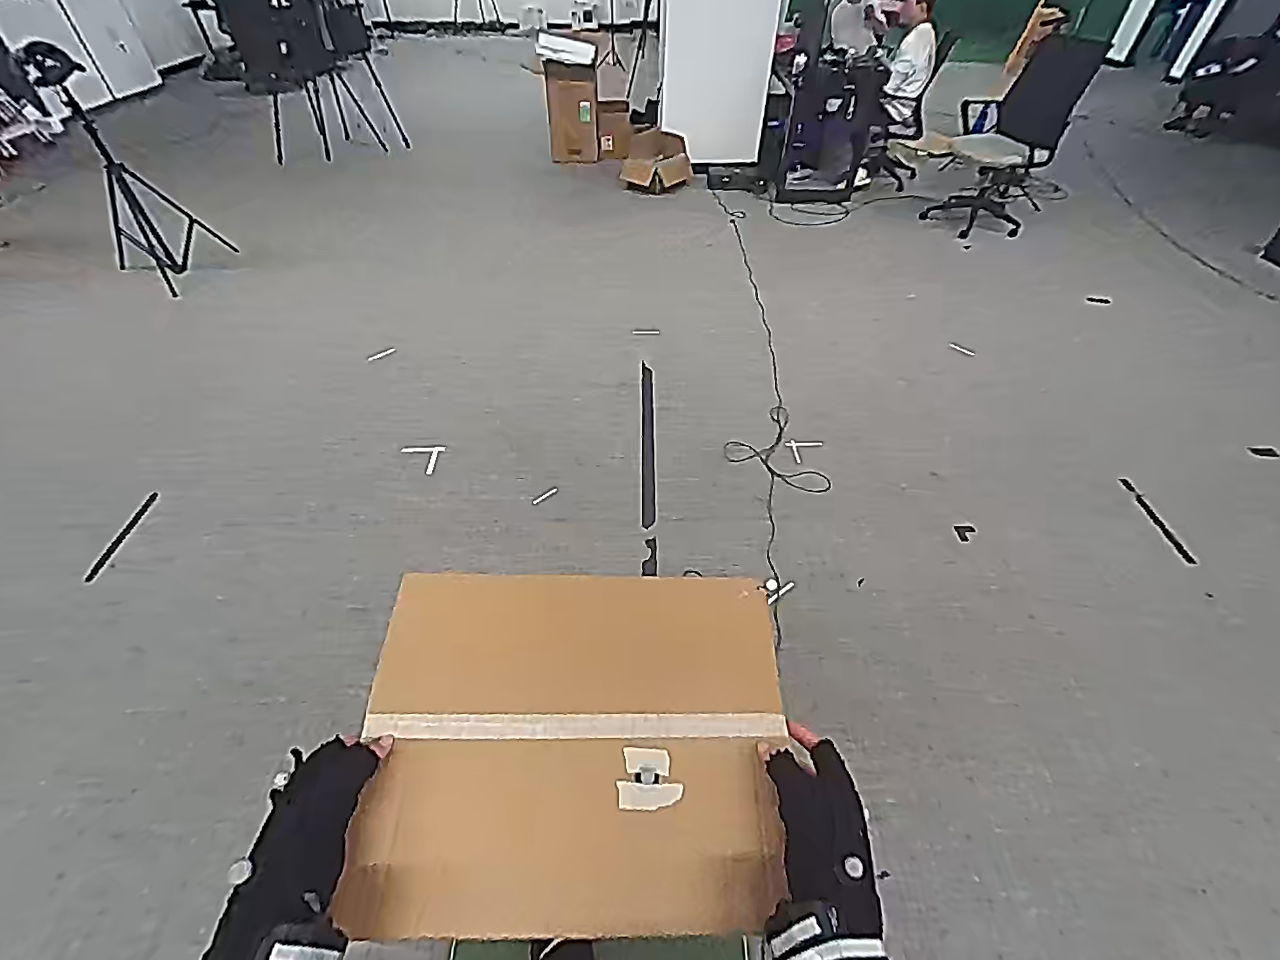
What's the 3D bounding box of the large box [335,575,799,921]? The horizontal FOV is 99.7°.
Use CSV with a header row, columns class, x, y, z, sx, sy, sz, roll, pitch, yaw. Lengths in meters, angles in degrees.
class,x,y,z,sx,sy,sz,roll,pitch,yaw
large box,-0.071,0.322,0.665,0.408,0.320,0.320,1,56,-3
